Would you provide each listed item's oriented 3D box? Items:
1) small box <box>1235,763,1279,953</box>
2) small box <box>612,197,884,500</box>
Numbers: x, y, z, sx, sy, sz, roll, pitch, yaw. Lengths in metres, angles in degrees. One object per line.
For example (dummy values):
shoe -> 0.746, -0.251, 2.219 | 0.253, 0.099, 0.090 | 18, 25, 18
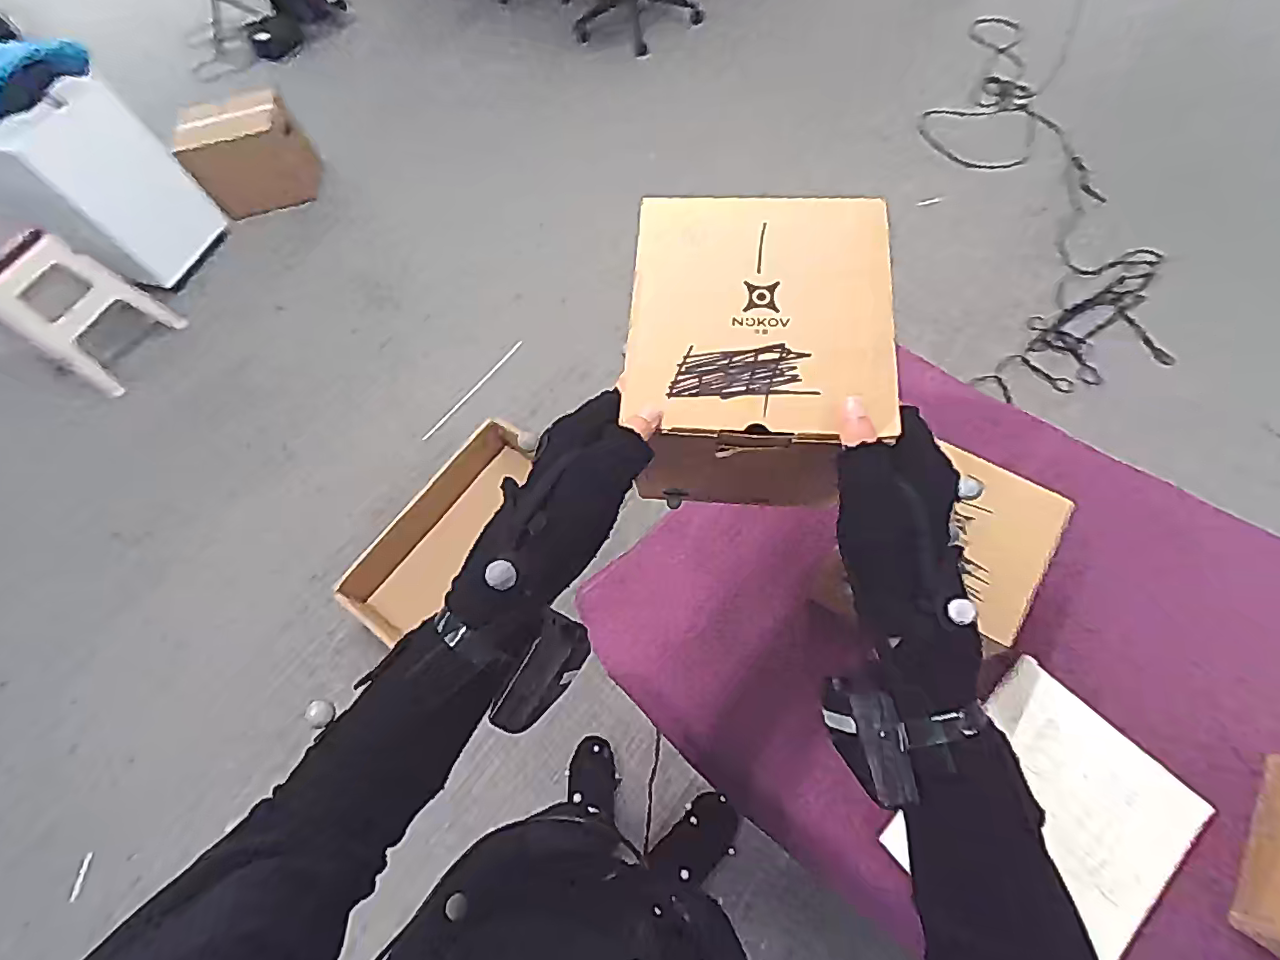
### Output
small box -> 0.648, 0.351, 0.427 | 0.168, 0.176, 0.179 | 32, 70, 21
small box -> 0.077, -0.088, 0.424 | 0.168, 0.176, 0.179 | 3, 73, 5
